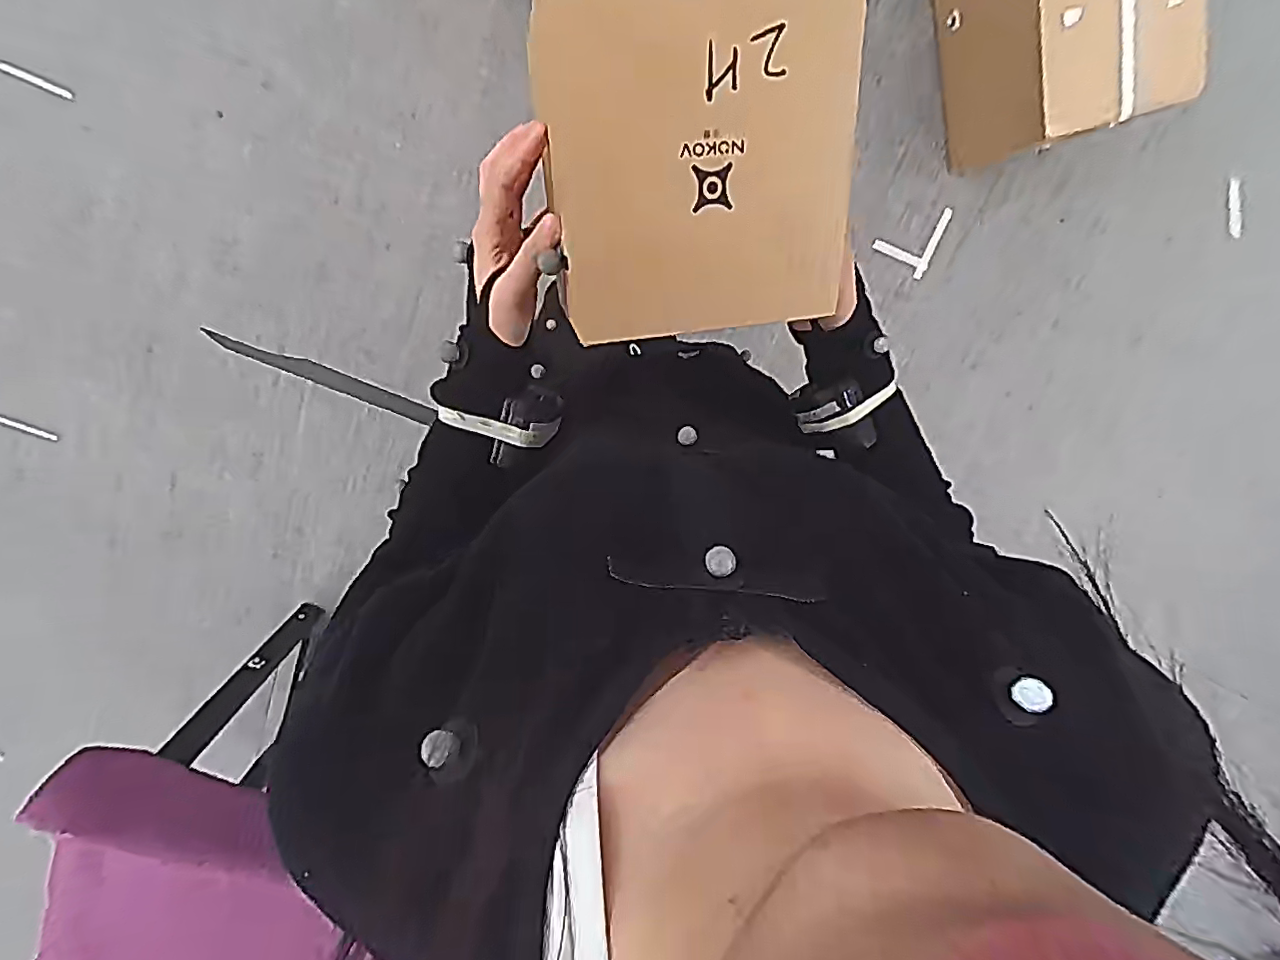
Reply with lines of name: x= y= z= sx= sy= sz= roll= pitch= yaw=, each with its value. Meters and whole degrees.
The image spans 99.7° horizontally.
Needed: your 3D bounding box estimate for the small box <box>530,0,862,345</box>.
small box: x=0.021 y=-0.206 z=0.370 sx=0.168 sy=0.176 sz=0.179 roll=-10 pitch=118 yaw=-10
